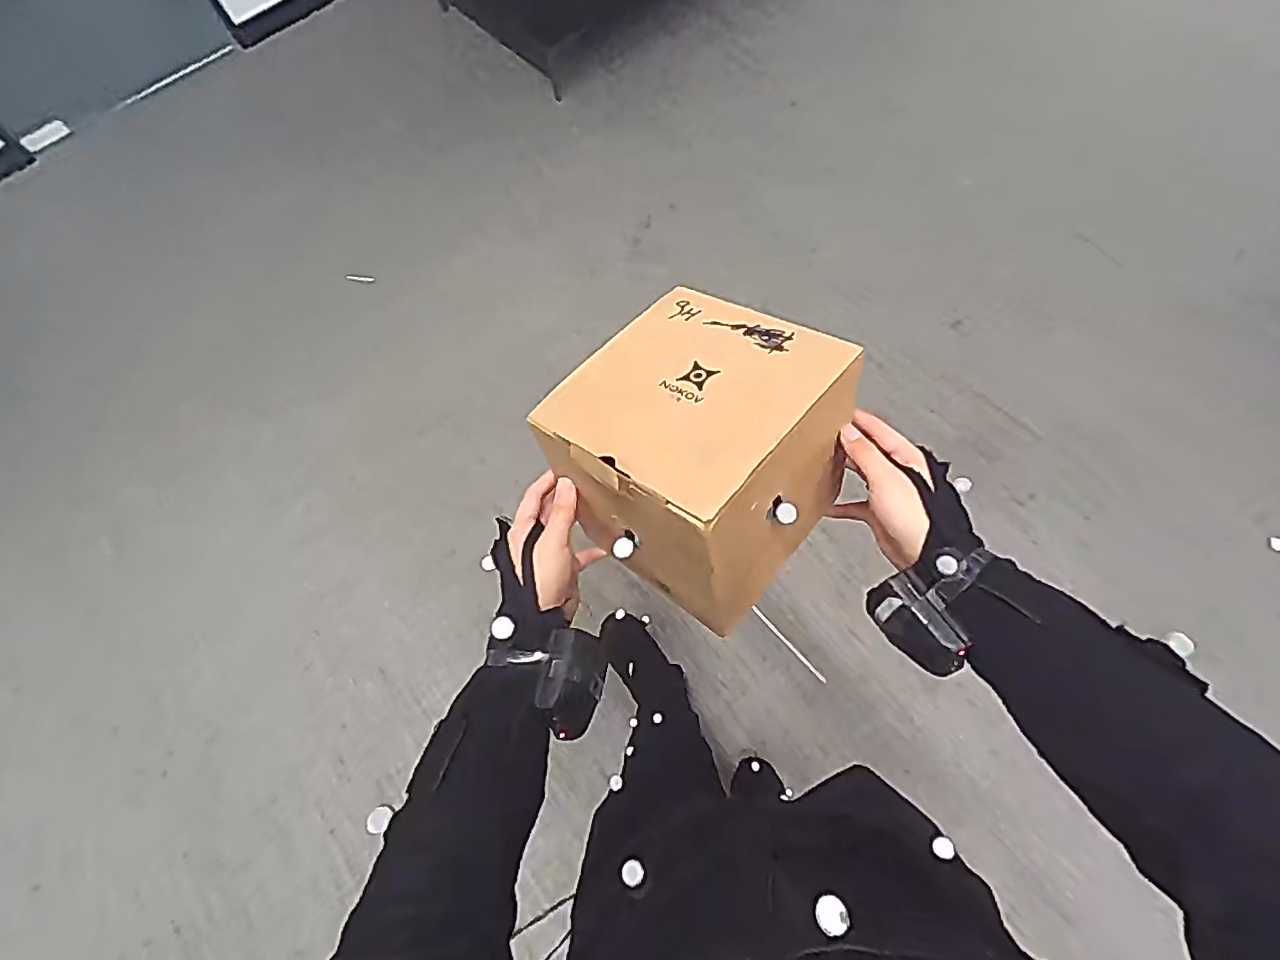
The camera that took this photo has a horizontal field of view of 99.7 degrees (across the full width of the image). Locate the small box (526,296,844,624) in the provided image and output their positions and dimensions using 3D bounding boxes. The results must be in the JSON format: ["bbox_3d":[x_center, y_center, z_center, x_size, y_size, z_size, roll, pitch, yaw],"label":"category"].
[{"bbox_3d":[0.045,-0.014,0.445,0.168,0.176,0.179,31,66,31],"label":"small box"}]
